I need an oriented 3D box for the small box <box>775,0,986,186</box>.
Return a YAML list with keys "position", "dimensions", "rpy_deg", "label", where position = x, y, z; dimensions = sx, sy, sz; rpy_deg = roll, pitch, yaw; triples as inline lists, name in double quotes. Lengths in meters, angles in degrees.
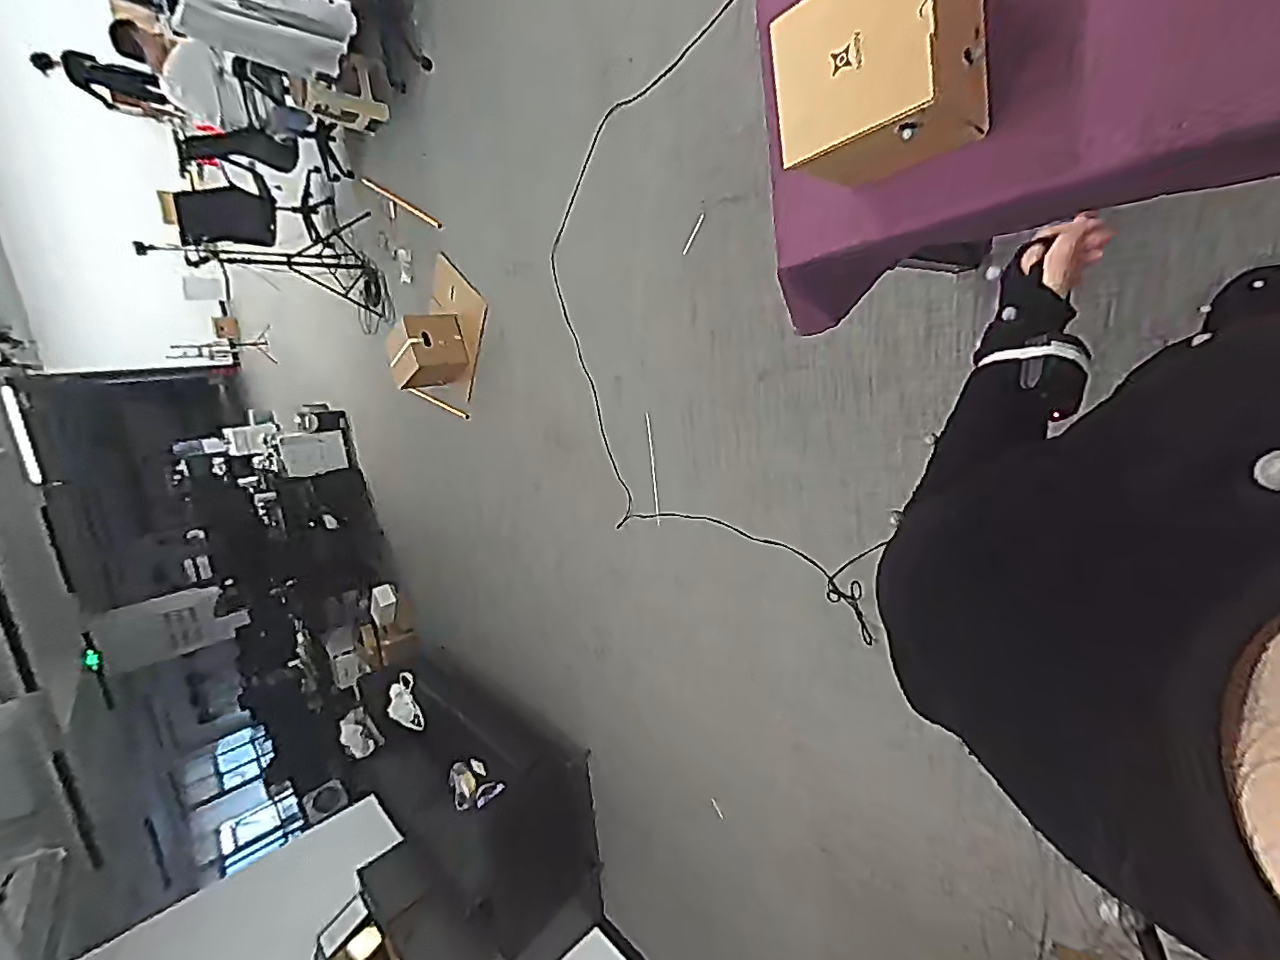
- position: [0.288, -0.477, 0.647]
  dimensions: [0.179, 0.176, 0.168]
  rpy_deg: [1, 102, 48]
  label: "small box"
